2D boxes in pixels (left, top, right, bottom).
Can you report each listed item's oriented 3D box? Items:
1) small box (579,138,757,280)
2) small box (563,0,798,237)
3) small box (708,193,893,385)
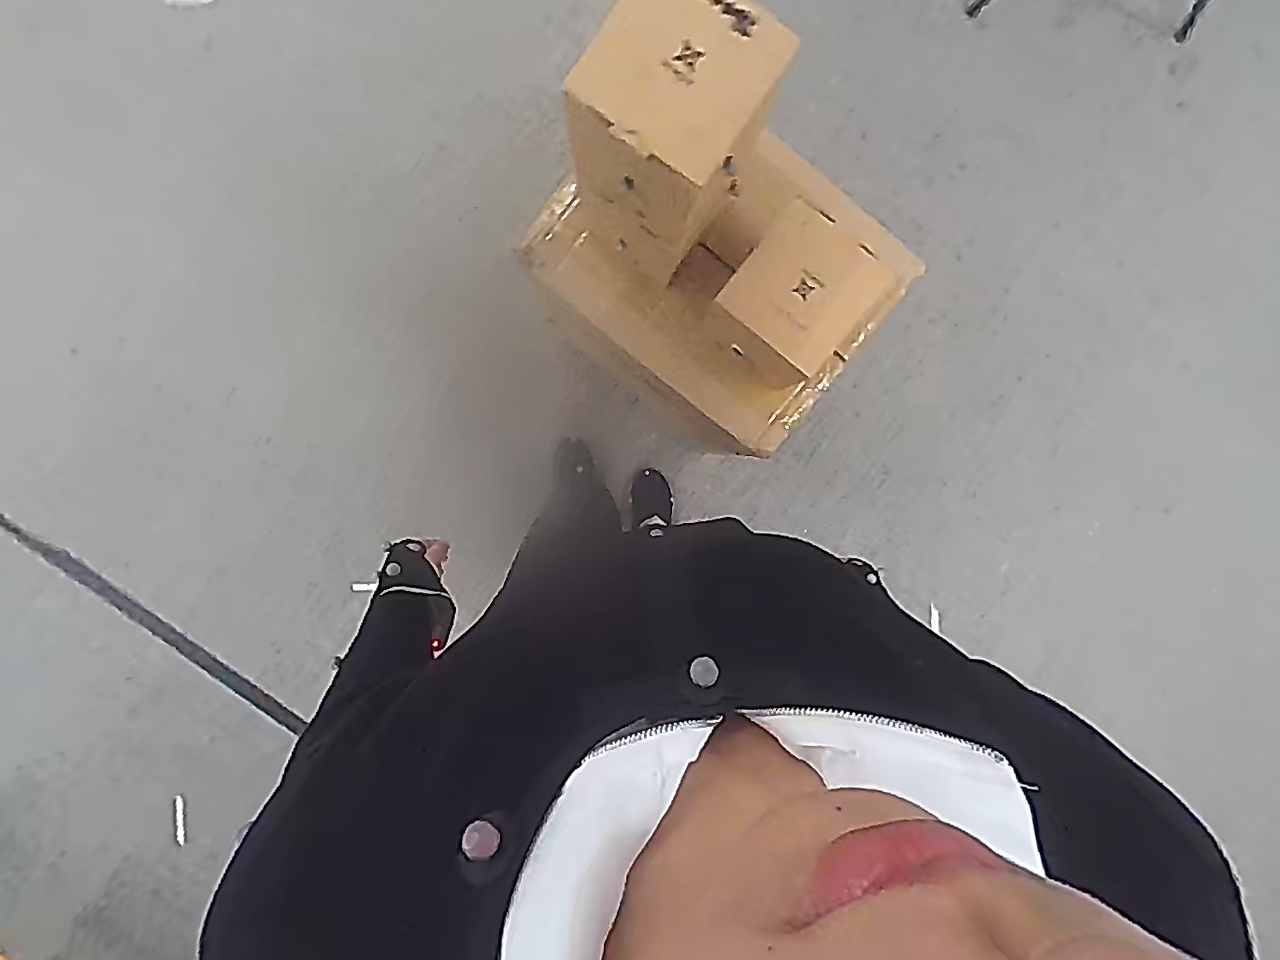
[{"bbox_3d":[0.031,-0.419,0.763,0.168,0.176,0.179,37,92,-4],"label":"small box"},{"bbox_3d":[0.039,-0.409,0.599,0.168,0.176,0.179,35,93,-4],"label":"small box"},{"bbox_3d":[0.214,-0.259,0.780,0.168,0.176,0.179,38,93,-1],"label":"small box"}]
